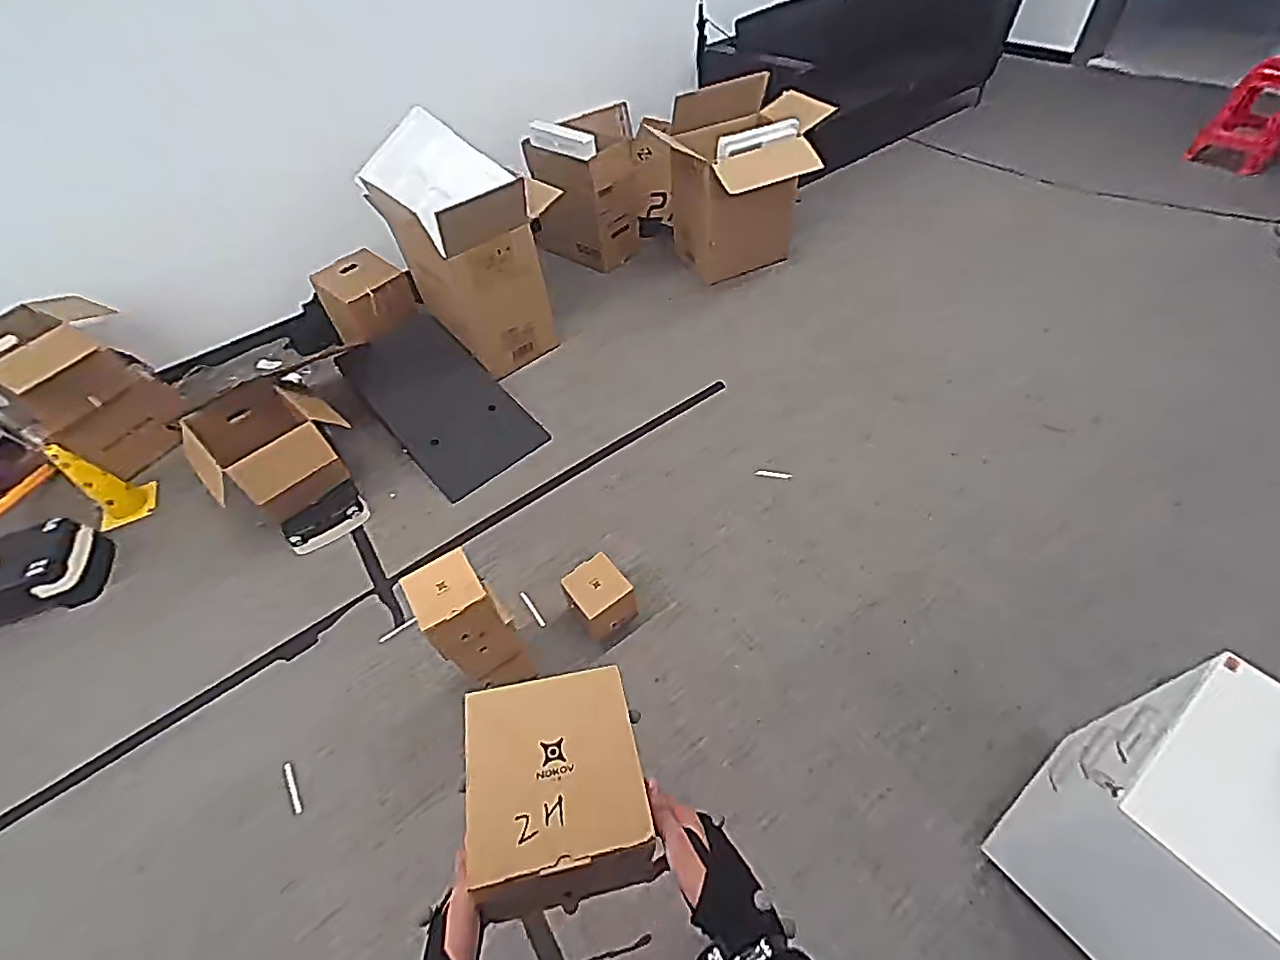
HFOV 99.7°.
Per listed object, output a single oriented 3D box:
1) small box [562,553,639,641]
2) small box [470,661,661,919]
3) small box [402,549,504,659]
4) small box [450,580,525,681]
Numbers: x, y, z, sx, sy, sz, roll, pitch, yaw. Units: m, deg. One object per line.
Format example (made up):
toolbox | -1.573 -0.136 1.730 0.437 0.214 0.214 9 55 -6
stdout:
small box | -0.122 0.372 1.706 0.168 0.176 0.179 -34 56 -19
small box | -0.083 0.323 0.571 0.168 0.176 0.179 -7 44 -11
small box | -0.466 0.314 1.362 0.168 0.176 0.179 -30 54 -19
small box | -0.441 0.418 1.485 0.179 0.176 0.168 -31 53 -20
